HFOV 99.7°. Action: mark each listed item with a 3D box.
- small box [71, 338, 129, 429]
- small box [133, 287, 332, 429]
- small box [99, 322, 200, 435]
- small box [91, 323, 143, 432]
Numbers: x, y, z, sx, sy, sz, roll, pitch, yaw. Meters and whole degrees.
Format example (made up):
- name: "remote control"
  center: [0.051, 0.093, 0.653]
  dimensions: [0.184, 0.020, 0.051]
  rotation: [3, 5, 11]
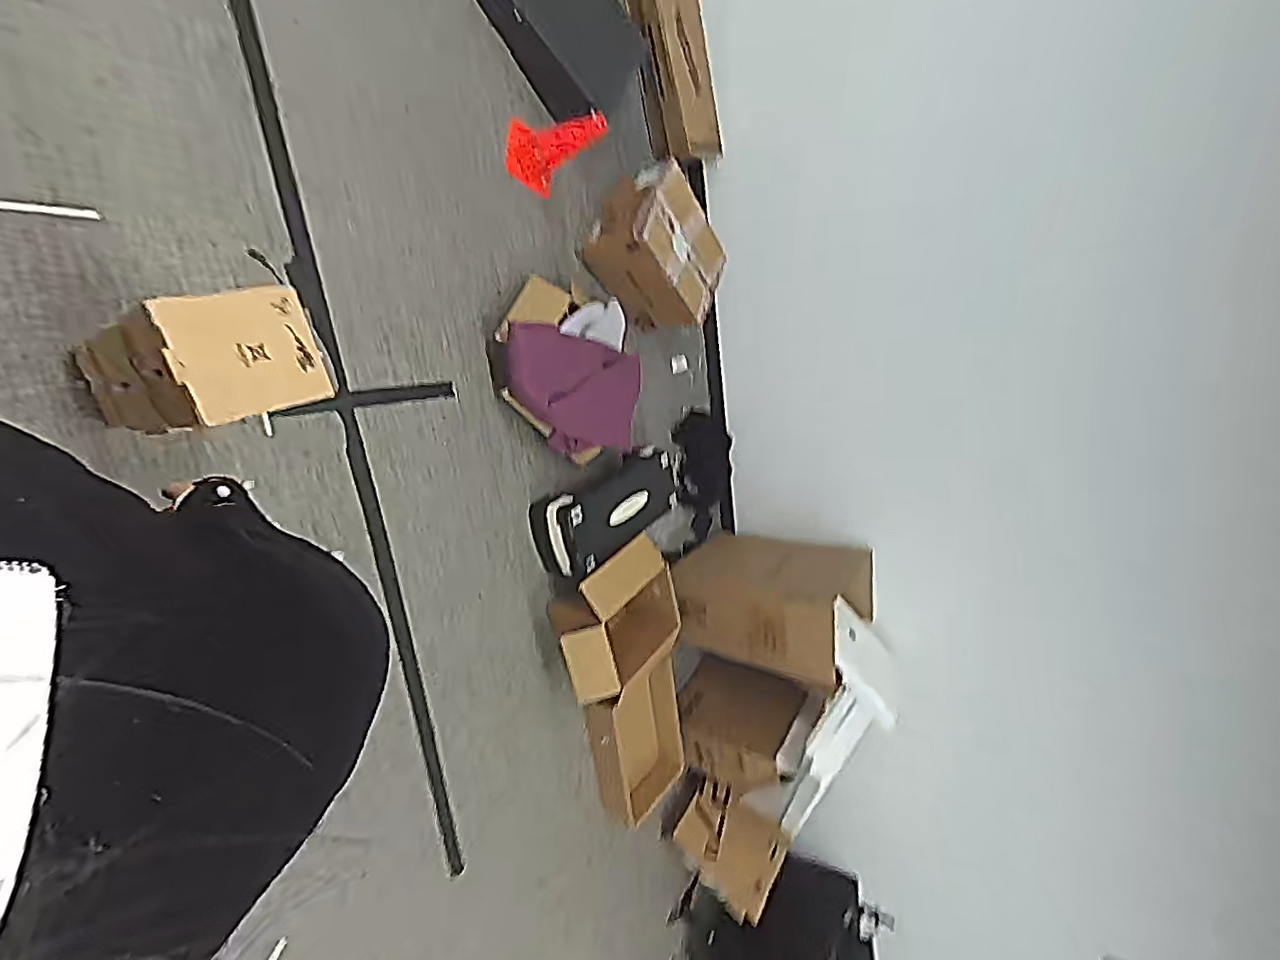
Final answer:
- name: "small box"
  center: [-0.991, -0.205, 1.093]
  dimensions: [0.179, 0.176, 0.168]
  rotation: [-30, 115, -45]
- name: "small box"
  center: [-0.600, -0.176, 0.794]
  dimensions: [0.179, 0.176, 0.168]
  rotation: [-31, 116, -46]
- name: "small box"
  center: [-0.732, -0.177, 0.891]
  dimensions: [0.179, 0.176, 0.168]
  rotation: [-32, 116, -46]
- name: "small box"
  center: [-0.859, -0.193, 0.994]
  dimensions: [0.168, 0.176, 0.179]
  rotation: [-28, 113, -47]
